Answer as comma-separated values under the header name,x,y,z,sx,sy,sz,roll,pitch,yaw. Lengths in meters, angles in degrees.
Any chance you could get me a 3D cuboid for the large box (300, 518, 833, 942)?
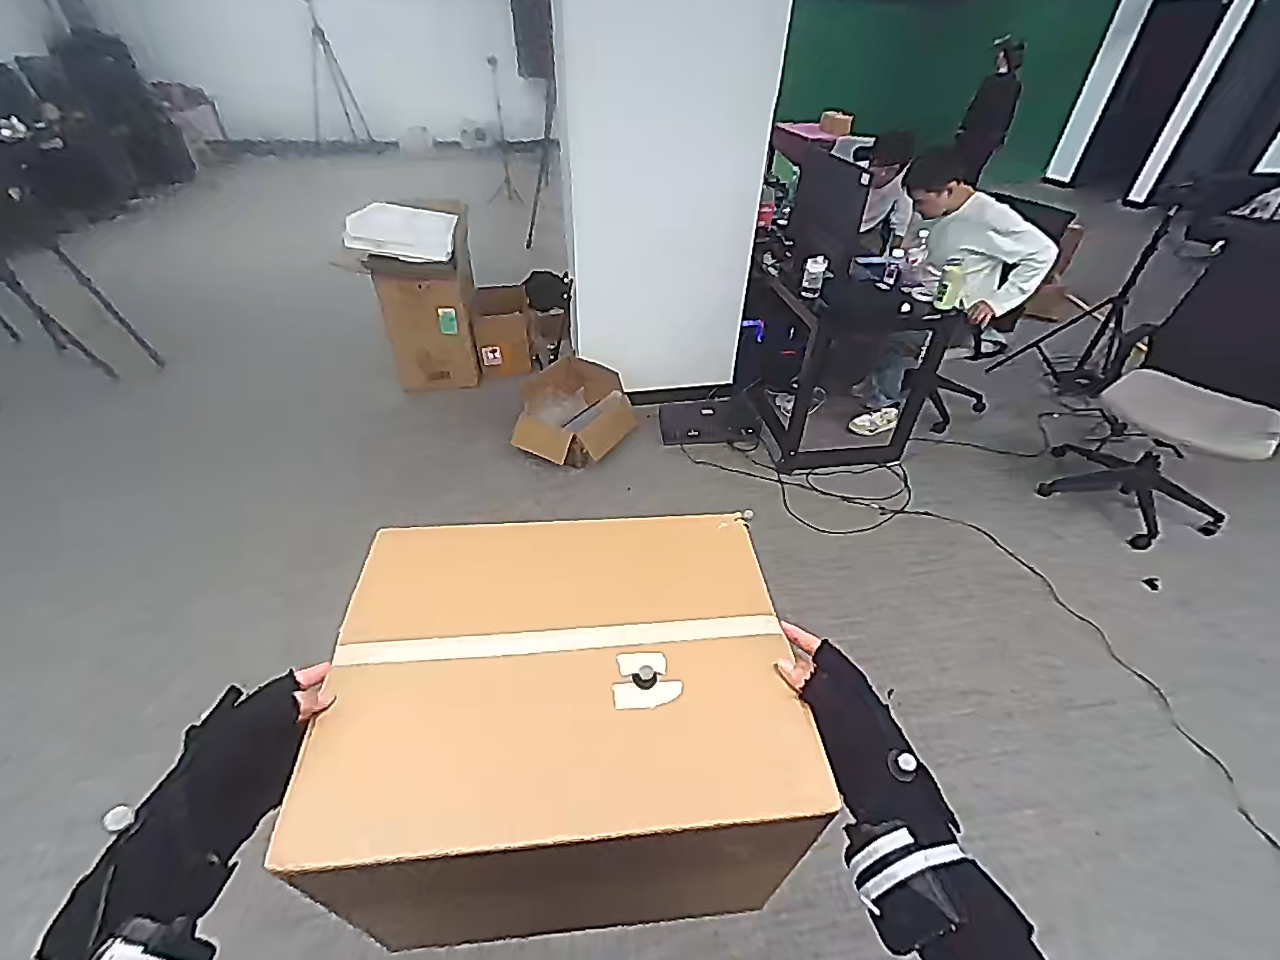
name,x,y,z,sx,sy,sz,roll,pitch,yaw
large box,-0.069,0.265,0.605,0.408,0.320,0.320,-2,42,-6
